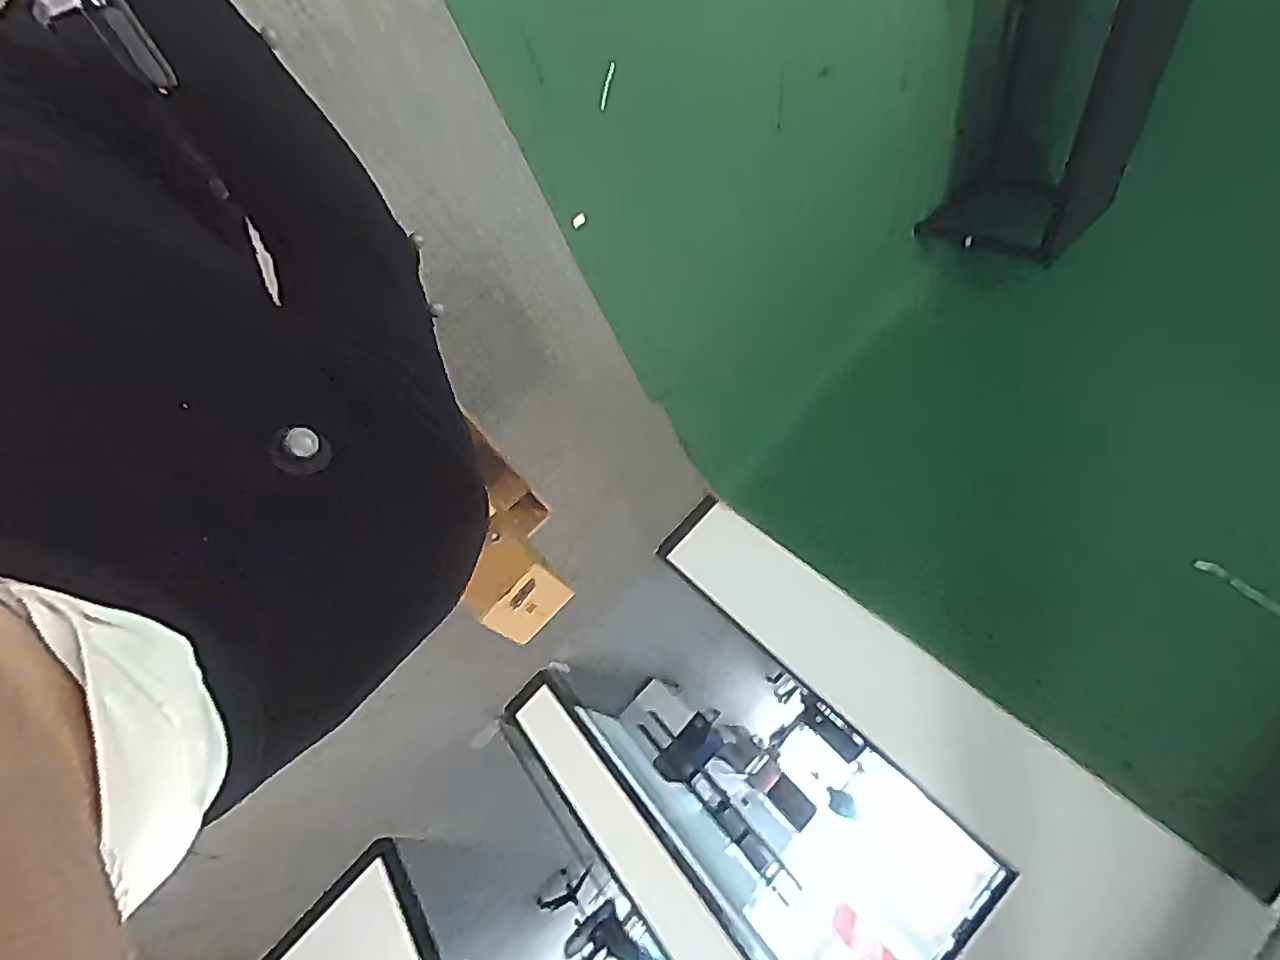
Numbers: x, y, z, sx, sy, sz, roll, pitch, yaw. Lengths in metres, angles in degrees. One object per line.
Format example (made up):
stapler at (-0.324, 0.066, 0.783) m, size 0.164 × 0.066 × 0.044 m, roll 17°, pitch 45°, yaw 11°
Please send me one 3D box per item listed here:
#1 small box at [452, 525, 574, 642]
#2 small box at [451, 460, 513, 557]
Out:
small box at (-0.288, 0.226, 1.215) m, size 0.168 × 0.176 × 0.179 m, roll -44°, pitch 141°, yaw -8°
small box at (-0.477, 0.076, 1.439) m, size 0.168 × 0.176 × 0.179 m, roll -43°, pitch 140°, yaw -9°
